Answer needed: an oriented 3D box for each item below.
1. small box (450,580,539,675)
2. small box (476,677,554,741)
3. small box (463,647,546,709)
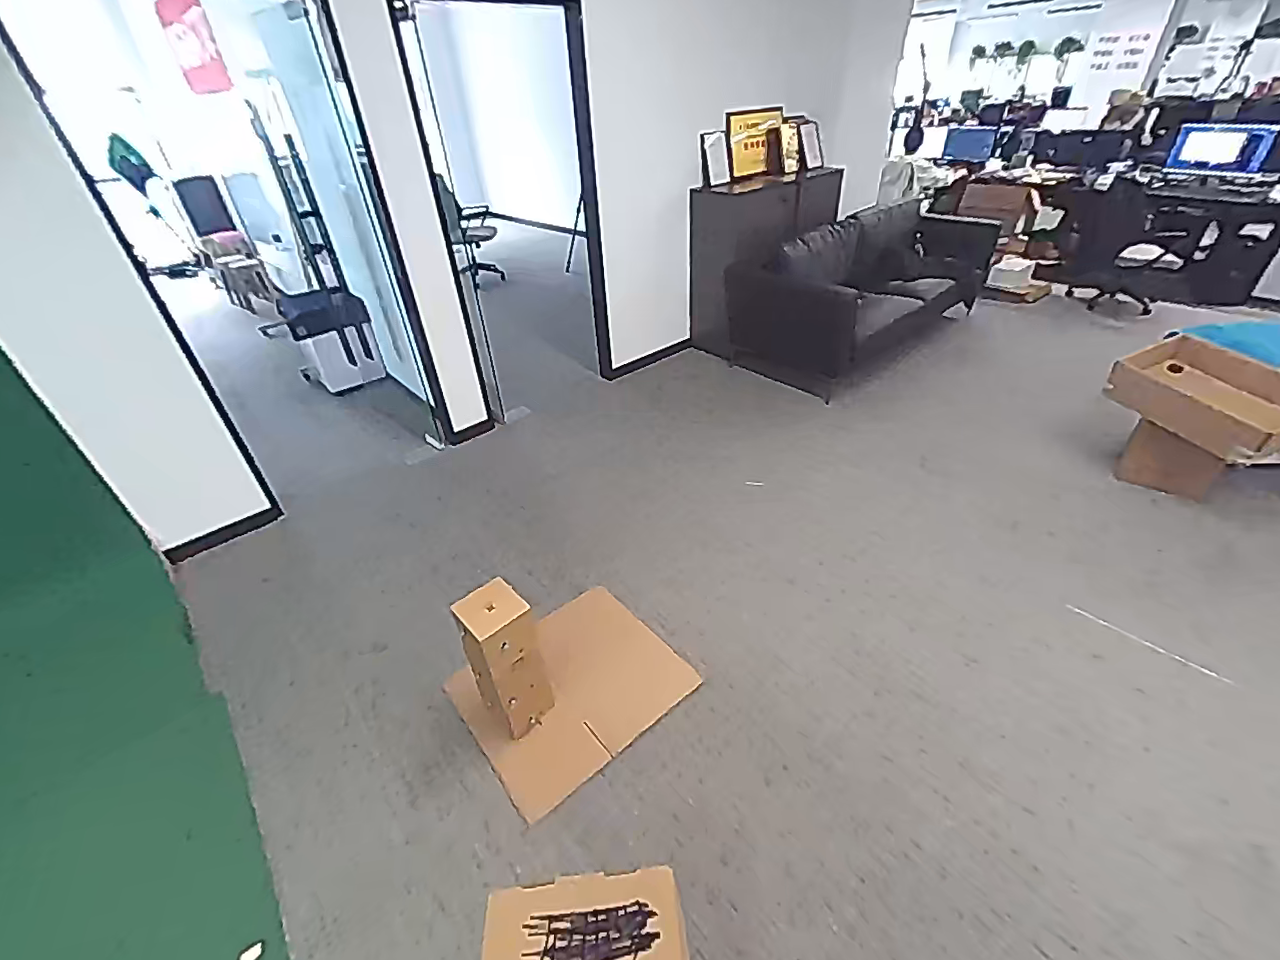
[{"bbox_3d":[-0.413,0.431,1.558,0.168,0.176,0.179,-31,43,-32],"label":"small box"},{"bbox_3d":[-0.399,0.698,1.743,0.179,0.176,0.168,27,46,35],"label":"small box"},{"bbox_3d":[-0.407,0.565,1.648,0.168,0.176,0.179,-31,43,-33],"label":"small box"}]
